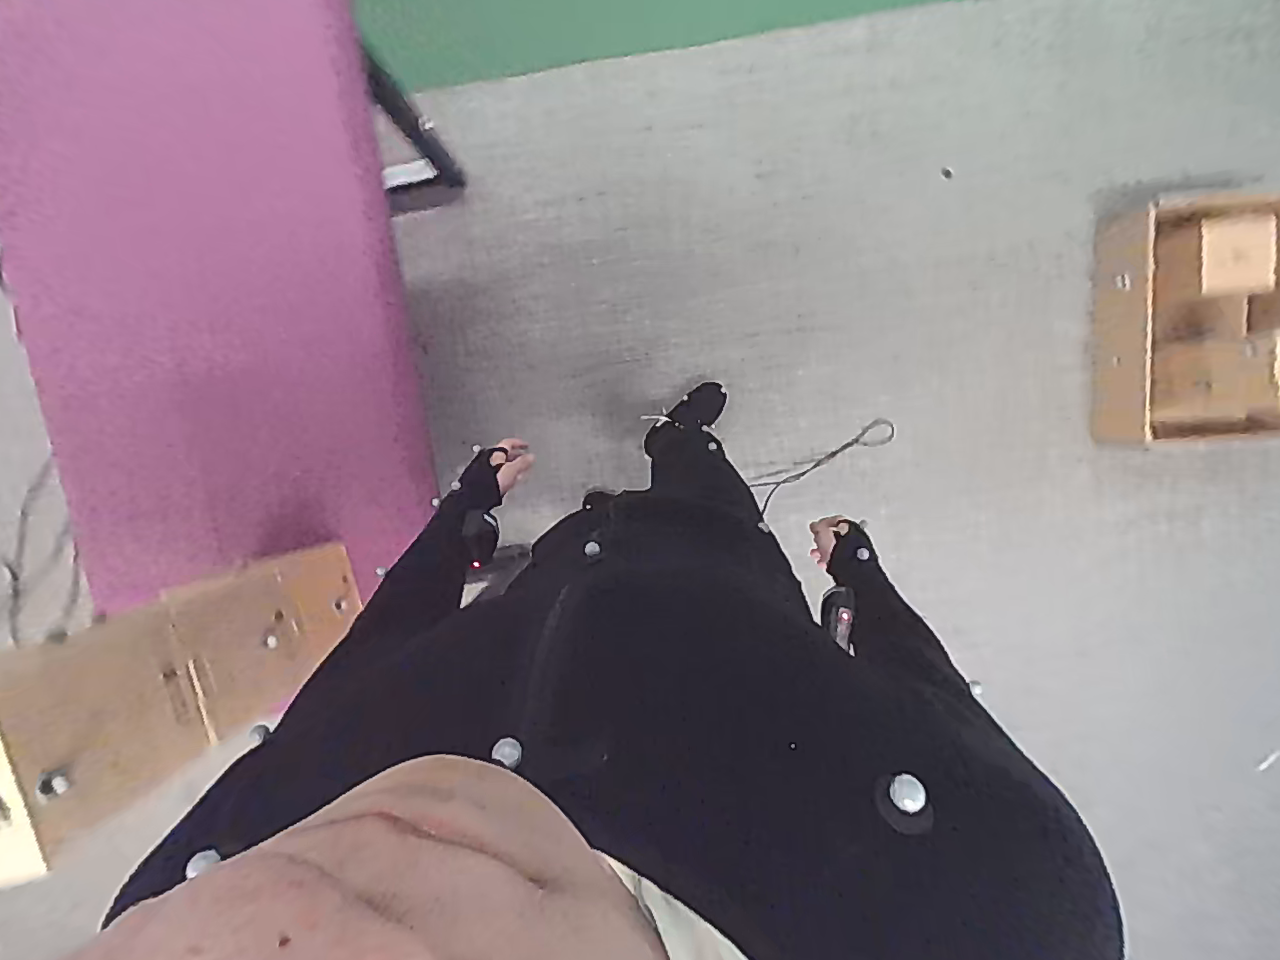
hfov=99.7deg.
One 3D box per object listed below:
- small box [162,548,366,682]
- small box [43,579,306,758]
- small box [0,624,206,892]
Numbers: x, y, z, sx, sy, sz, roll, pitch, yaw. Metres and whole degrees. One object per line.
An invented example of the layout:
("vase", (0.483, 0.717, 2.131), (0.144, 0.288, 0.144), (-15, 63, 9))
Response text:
("small box", (-0.568, 0.217, 0.840), (0.179, 0.176, 0.168), (-15, 95, 3))
("small box", (-0.571, 0.240, 0.677), (0.179, 0.176, 0.168), (-15, 95, 3))
("small box", (-0.578, 0.255, 0.514), (0.179, 0.176, 0.168), (-13, 95, 4))
